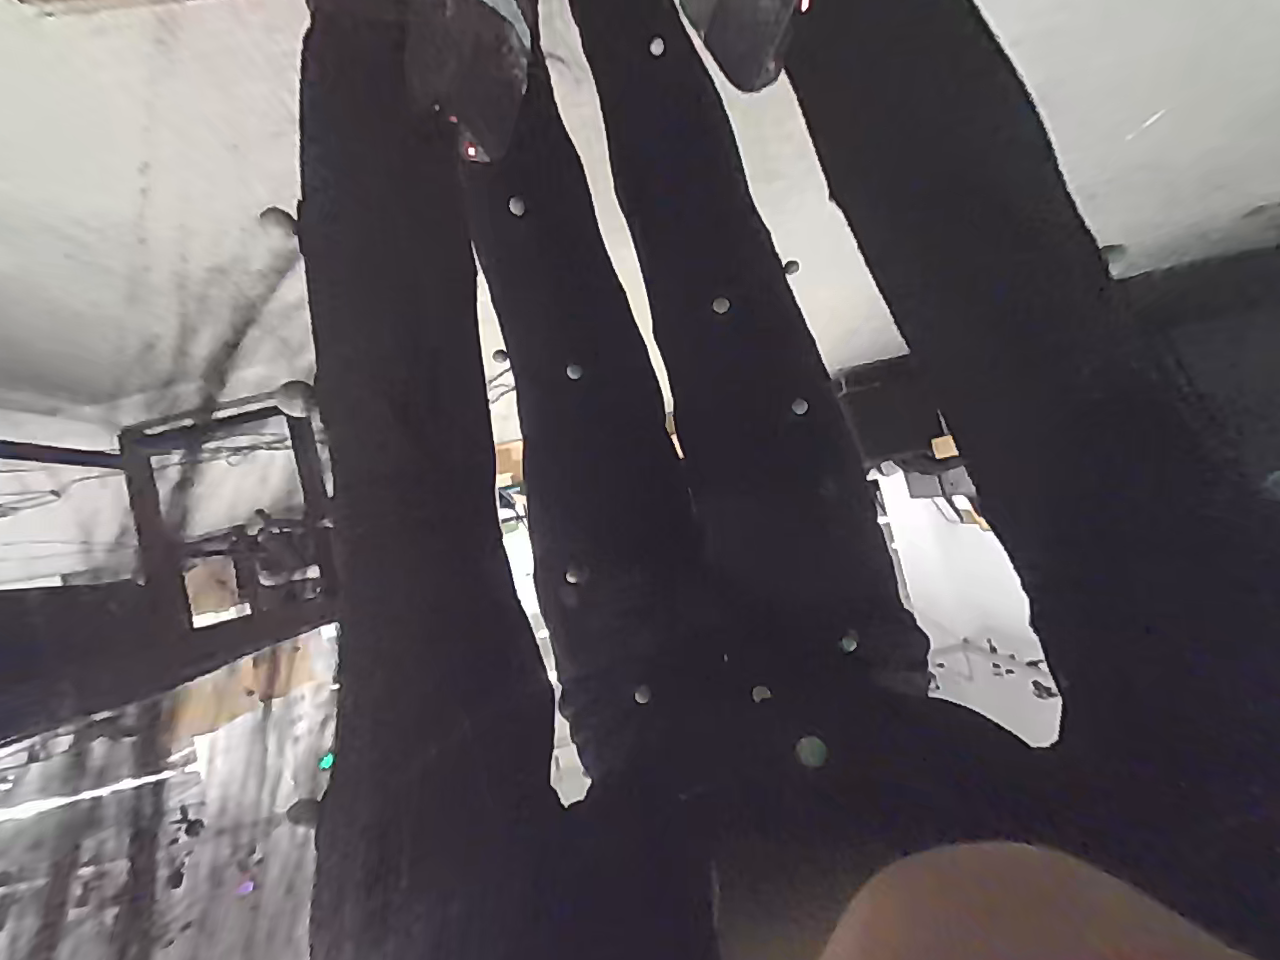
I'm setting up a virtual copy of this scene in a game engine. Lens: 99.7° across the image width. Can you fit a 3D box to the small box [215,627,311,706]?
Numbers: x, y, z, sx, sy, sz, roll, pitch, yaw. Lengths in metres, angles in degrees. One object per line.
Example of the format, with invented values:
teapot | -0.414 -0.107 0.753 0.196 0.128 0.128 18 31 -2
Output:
small box | -1.111 0.541 1.594 0.179 0.176 0.168 -12 176 -4
